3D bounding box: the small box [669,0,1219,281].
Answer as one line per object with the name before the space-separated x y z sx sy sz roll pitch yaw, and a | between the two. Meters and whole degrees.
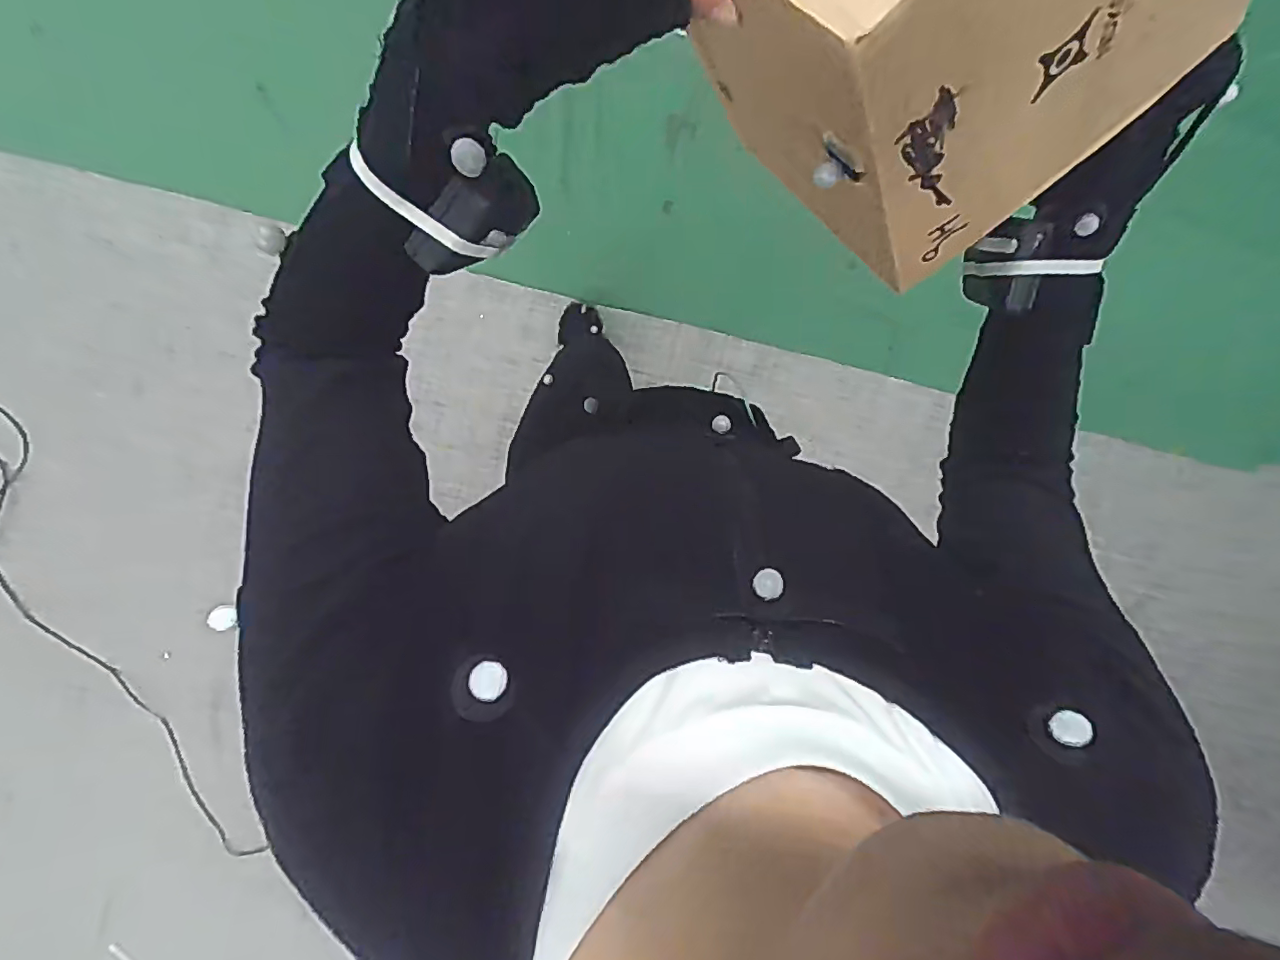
small box | 0.131 -0.241 0.250 0.179 0.168 0.176 -40 63 18
